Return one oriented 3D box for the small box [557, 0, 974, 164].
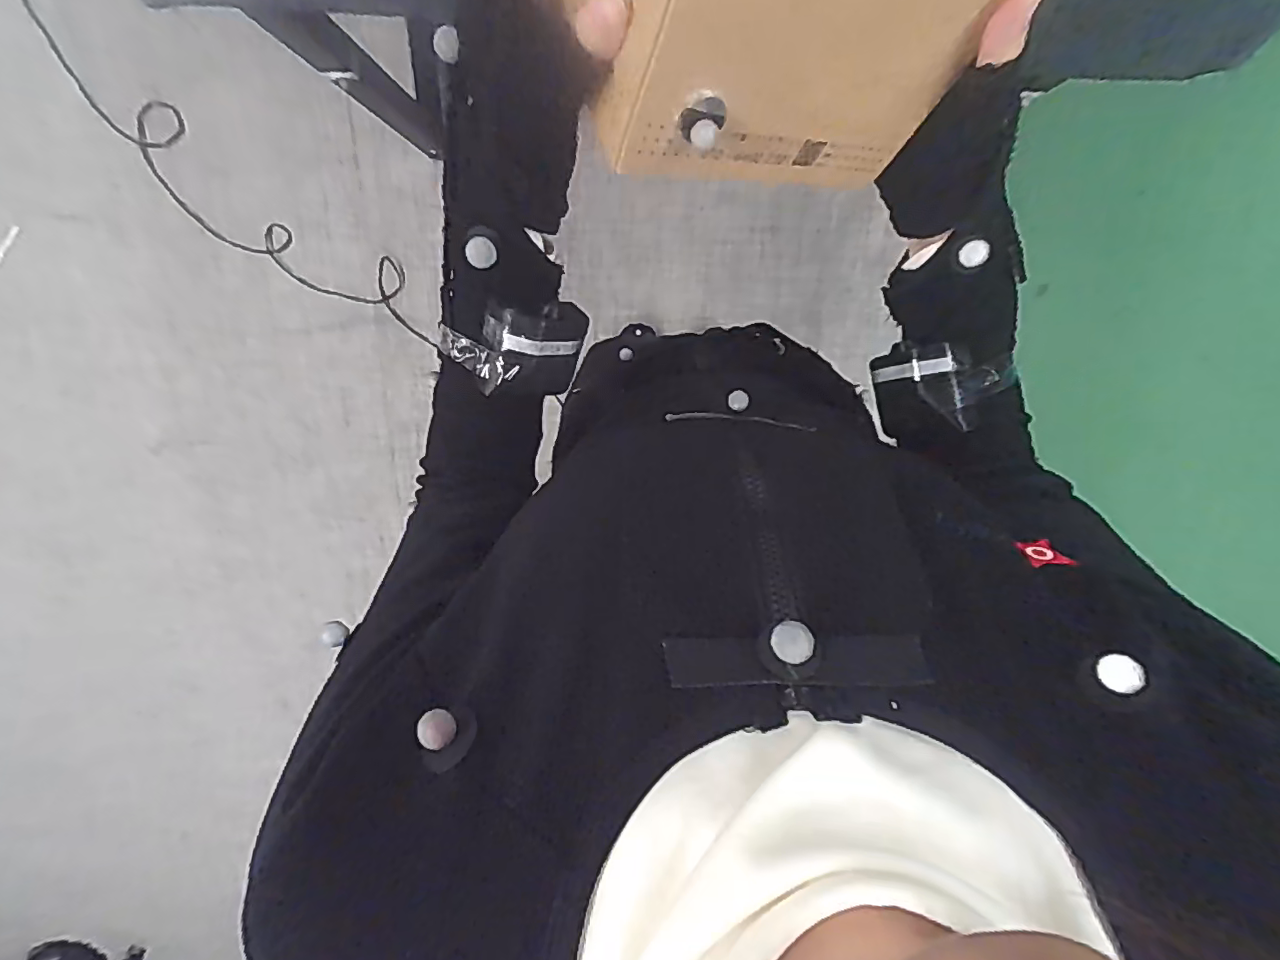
[{"bbox_3d":[0.060,-0.278,0.247,0.168,0.176,0.179,-12,71,-24],"label":"small box"}]
